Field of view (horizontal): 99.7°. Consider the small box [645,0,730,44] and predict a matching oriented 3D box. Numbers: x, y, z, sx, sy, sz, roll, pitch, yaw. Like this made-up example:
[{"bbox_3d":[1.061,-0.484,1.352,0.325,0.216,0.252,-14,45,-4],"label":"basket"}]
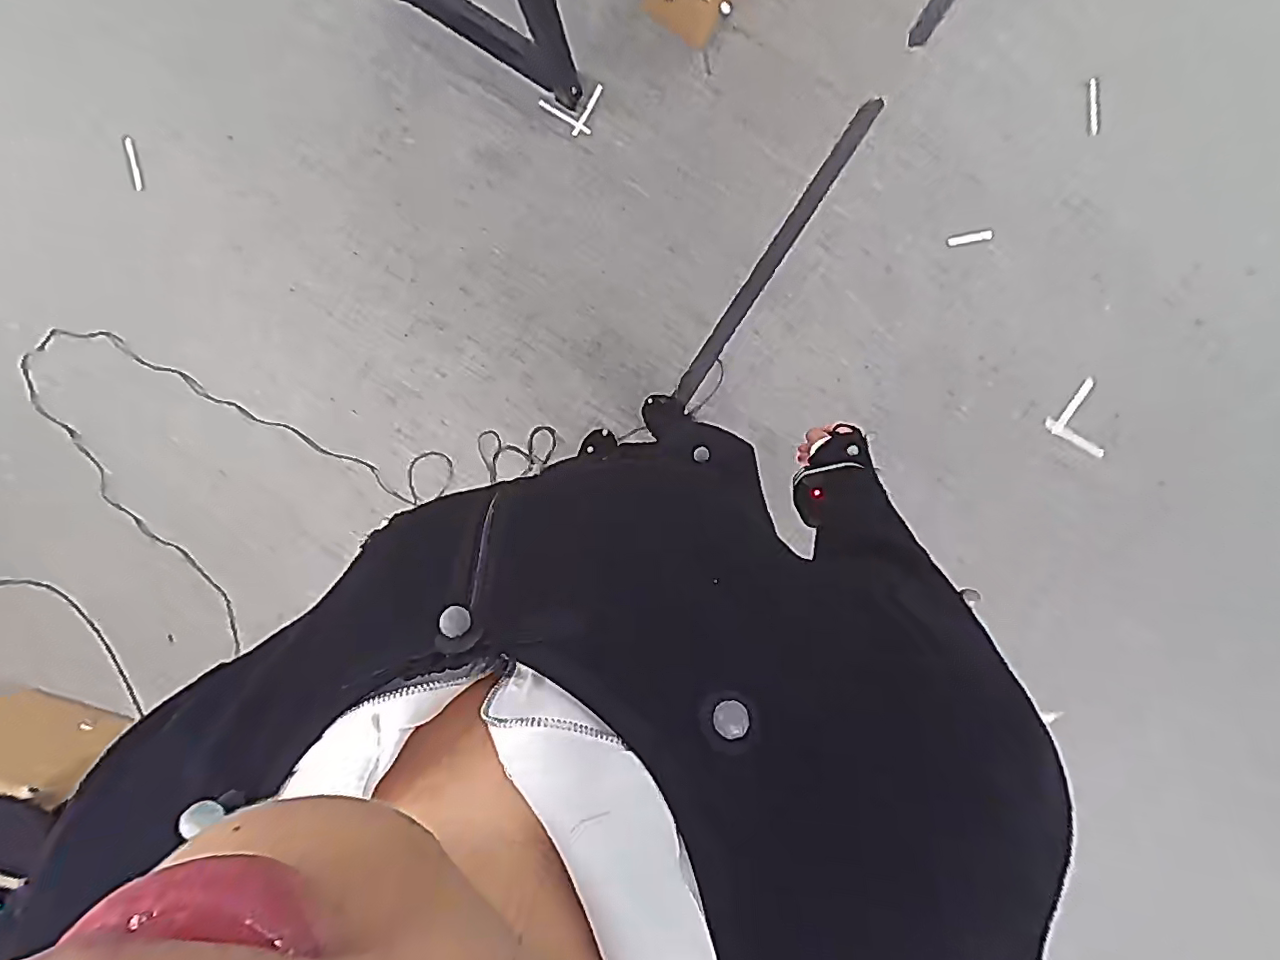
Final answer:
[{"bbox_3d":[0.118,-1.172,1.250,0.179,0.176,0.168,31,99,-2],"label":"small box"}]
